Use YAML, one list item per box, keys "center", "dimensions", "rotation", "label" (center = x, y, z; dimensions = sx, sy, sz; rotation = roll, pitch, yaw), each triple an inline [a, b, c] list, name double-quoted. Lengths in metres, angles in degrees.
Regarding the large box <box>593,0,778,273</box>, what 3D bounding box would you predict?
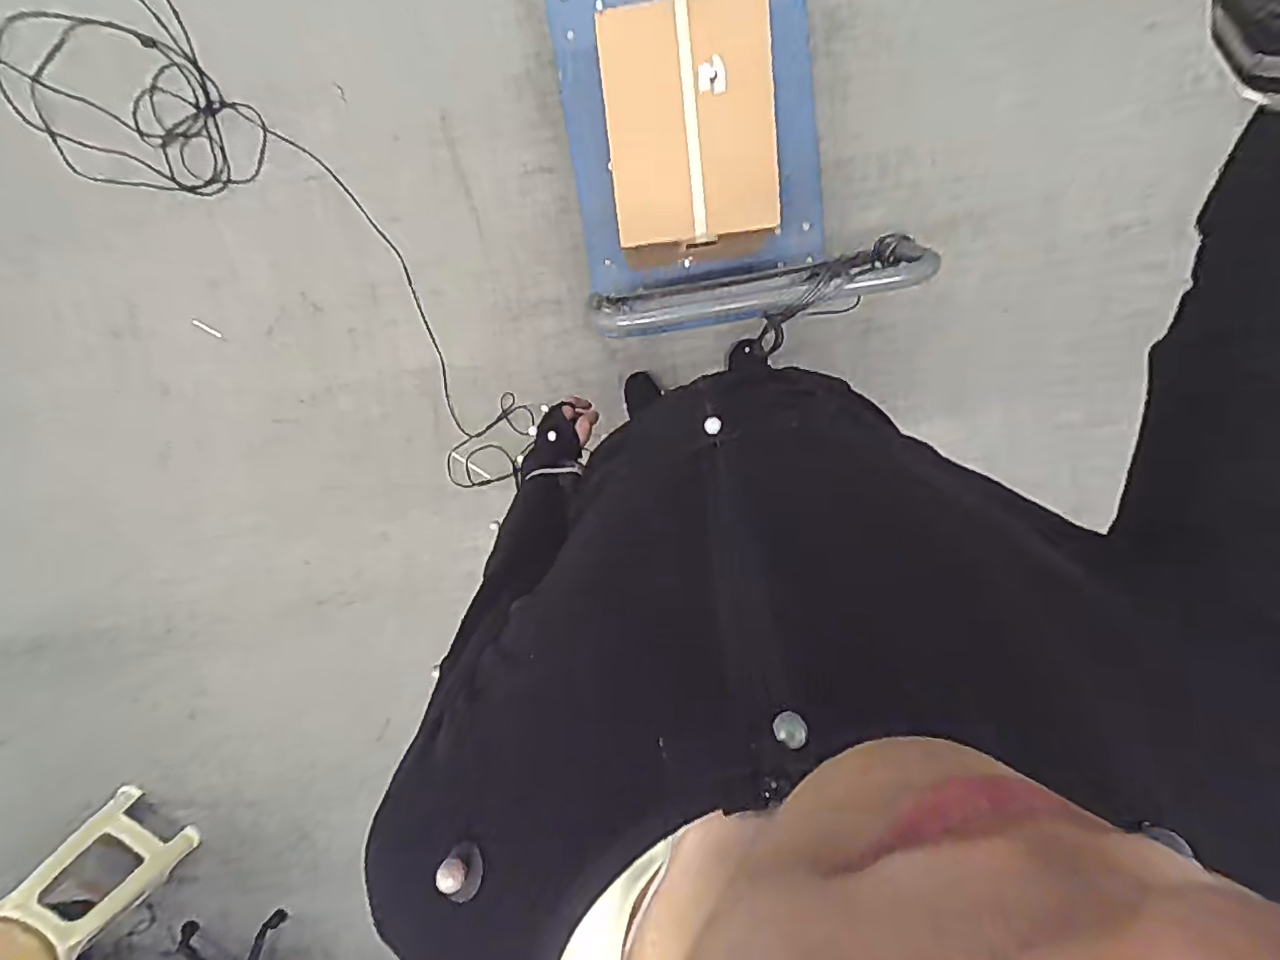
- center: [0.100, -0.694, 1.158]
  dimensions: [0.320, 0.320, 0.408]
  rotation: [-6, 102, 5]
  label: "large box"
